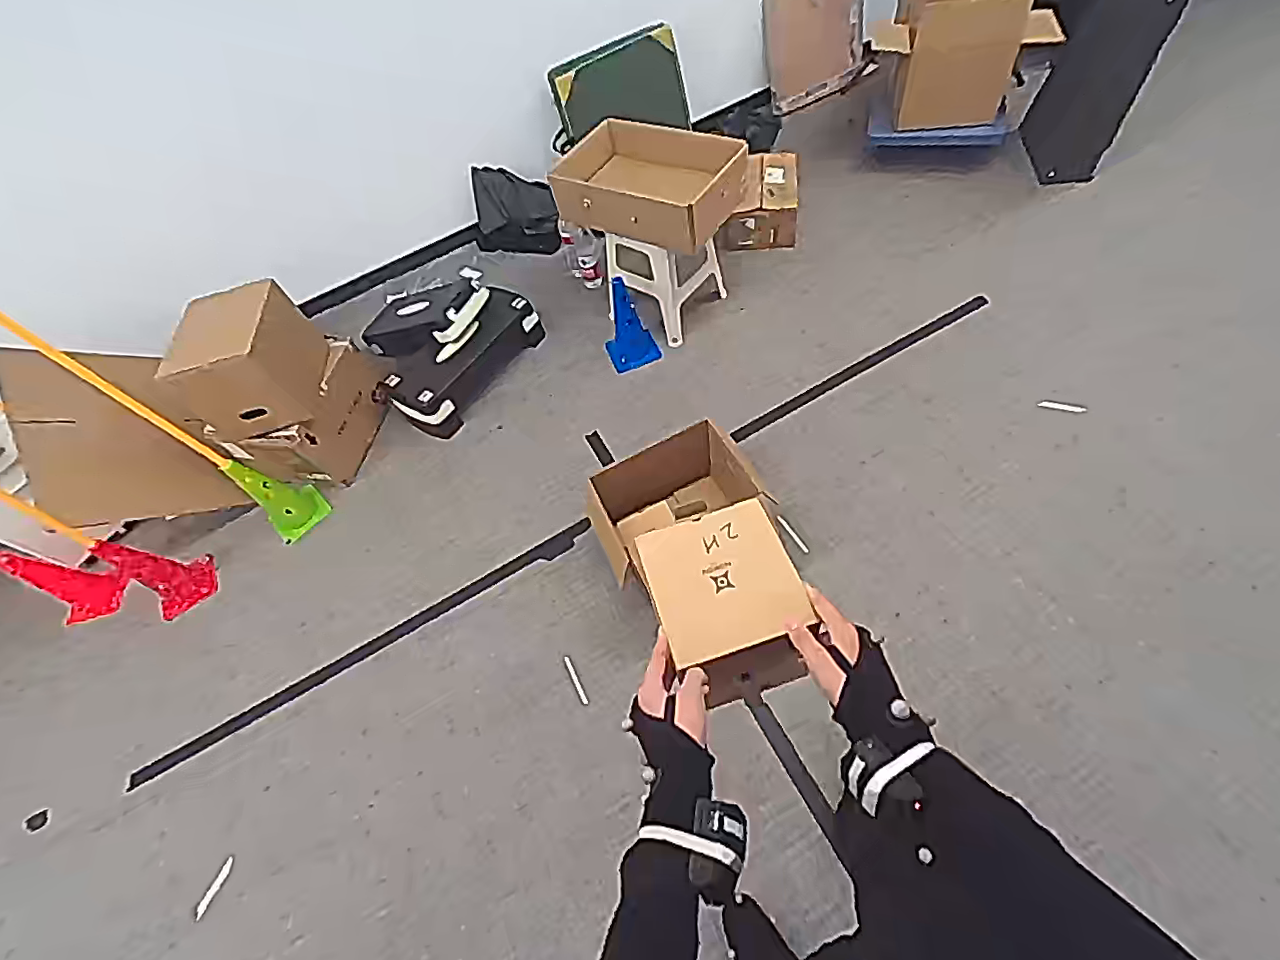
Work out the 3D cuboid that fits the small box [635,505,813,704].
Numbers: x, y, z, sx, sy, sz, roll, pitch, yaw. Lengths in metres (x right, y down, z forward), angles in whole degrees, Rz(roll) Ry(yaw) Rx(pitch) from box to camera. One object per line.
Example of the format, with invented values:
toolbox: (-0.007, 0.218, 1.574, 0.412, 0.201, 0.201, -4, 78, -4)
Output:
small box: (0.104, 0.167, 0.695, 0.168, 0.176, 0.179, -17, 49, -4)
